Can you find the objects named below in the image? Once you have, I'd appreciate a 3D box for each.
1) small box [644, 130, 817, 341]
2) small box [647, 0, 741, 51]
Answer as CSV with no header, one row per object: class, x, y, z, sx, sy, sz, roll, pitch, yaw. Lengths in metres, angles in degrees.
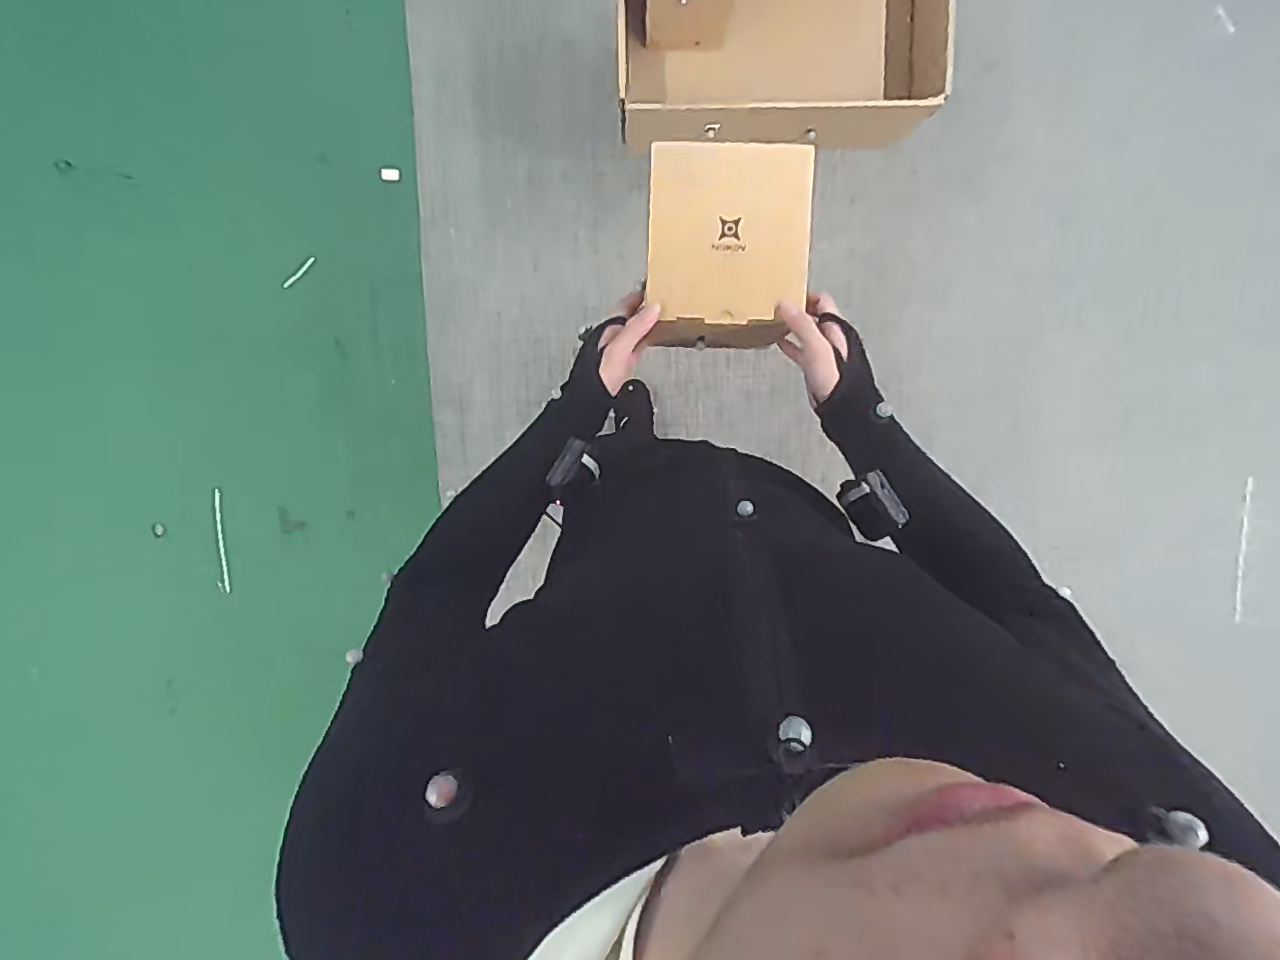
small box,0.091,-0.265,0.622,0.168,0.176,0.179,2,97,-1
small box,0.099,-0.953,1.007,0.168,0.176,0.179,0,97,-2
